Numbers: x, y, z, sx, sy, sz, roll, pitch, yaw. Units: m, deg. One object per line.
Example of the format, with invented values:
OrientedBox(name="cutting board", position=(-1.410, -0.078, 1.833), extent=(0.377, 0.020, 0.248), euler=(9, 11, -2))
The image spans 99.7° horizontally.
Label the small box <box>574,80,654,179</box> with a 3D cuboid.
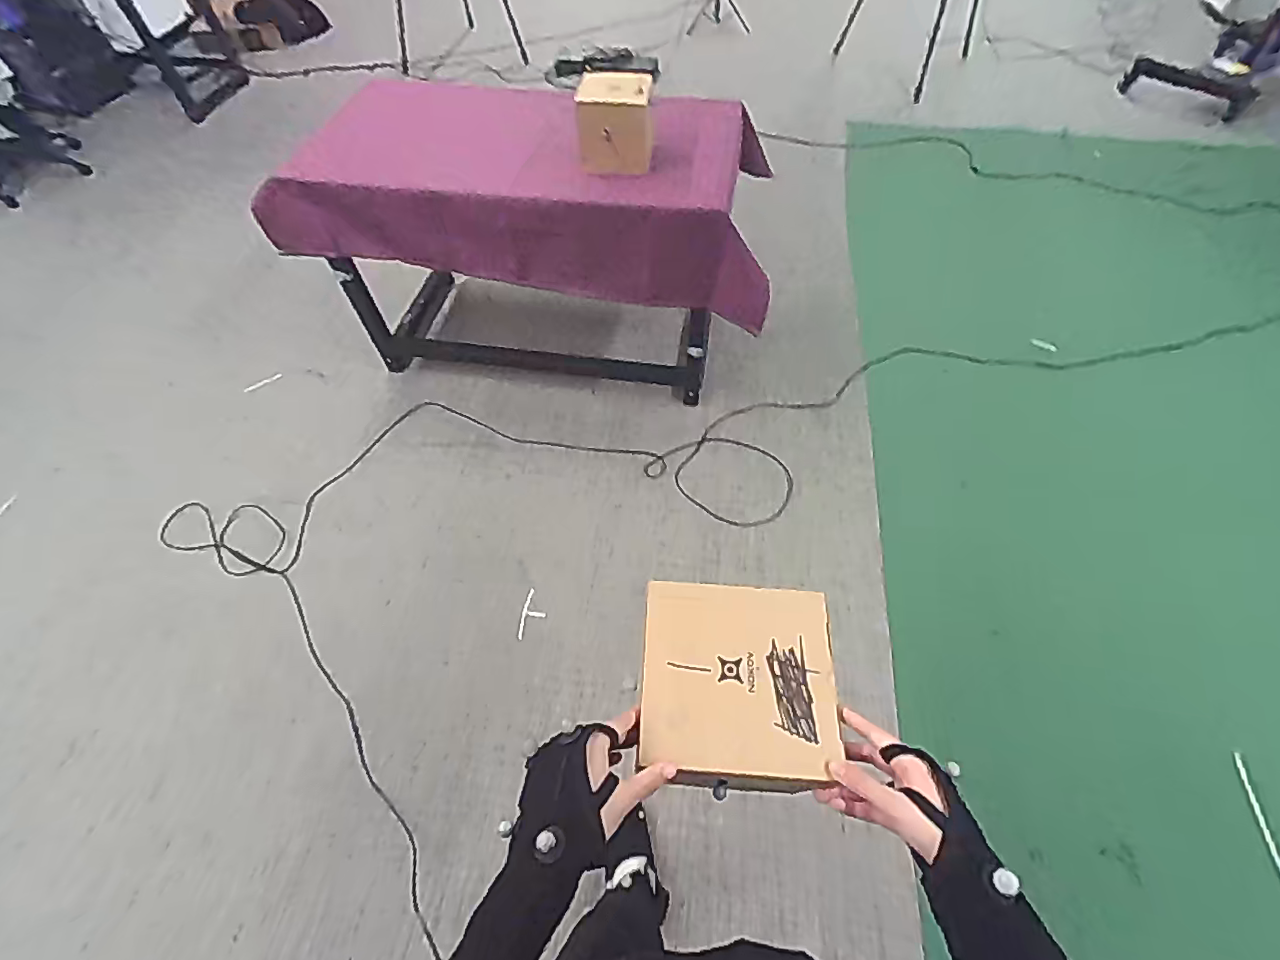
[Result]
OrientedBox(name="small box", position=(-0.061, -0.904, 1.399), extent=(0.179, 0.176, 0.168), euler=(5, 56, 6))
